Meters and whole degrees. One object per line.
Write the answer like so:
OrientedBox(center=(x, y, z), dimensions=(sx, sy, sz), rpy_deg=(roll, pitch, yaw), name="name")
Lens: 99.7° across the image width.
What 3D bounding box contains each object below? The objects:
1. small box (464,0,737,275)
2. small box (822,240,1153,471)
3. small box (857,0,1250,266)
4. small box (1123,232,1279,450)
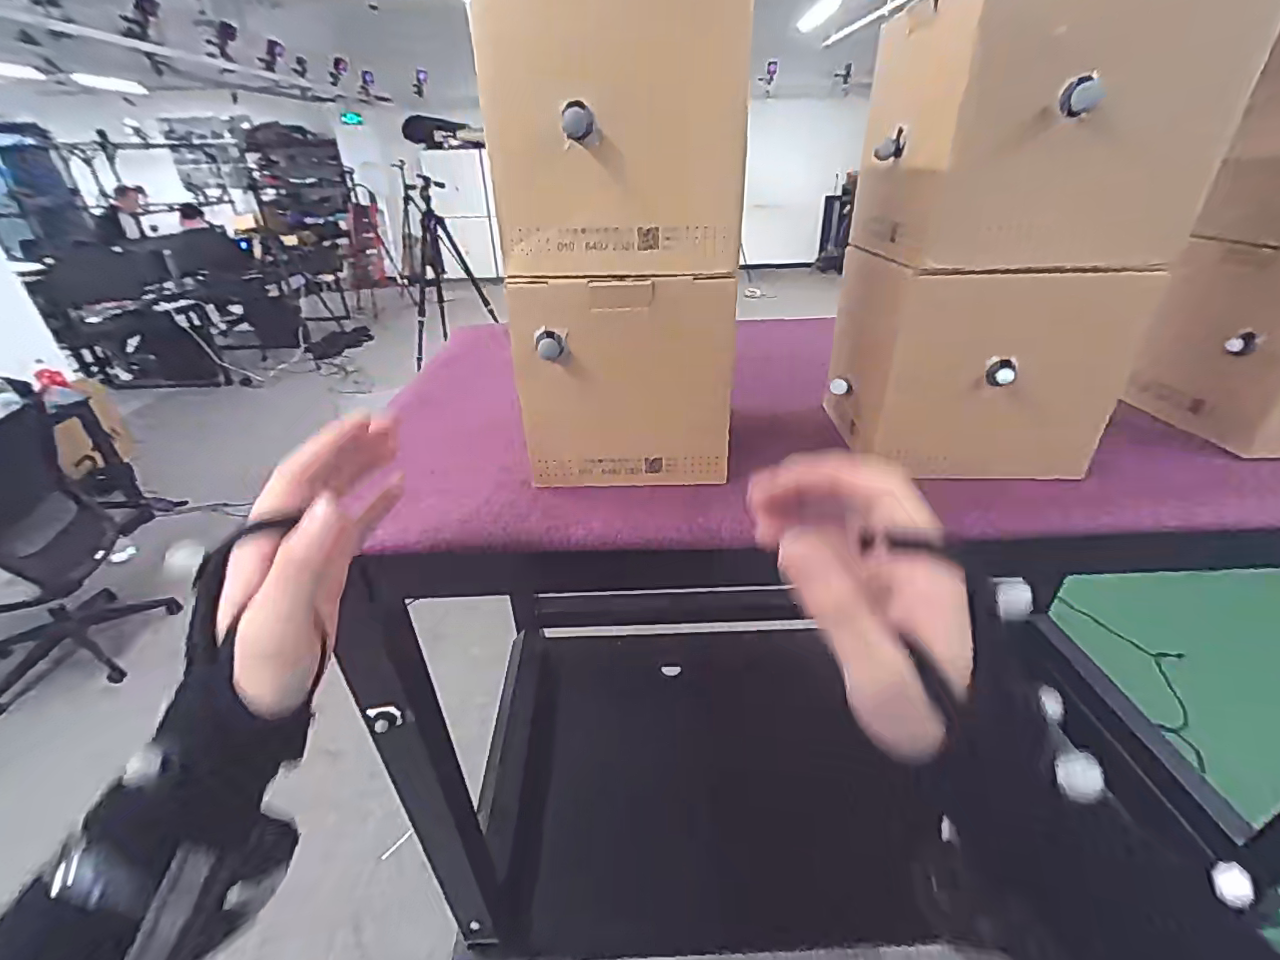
OrientedBox(center=(-0.014, -0.257, 0.420), dimensions=(0.168, 0.176, 0.179), rpy_deg=(0, 29, 4), name="small box")
OrientedBox(center=(0.278, -0.116, 0.486), dimensions=(0.179, 0.176, 0.168), rpy_deg=(-1, 30, 5), name="small box")
OrientedBox(center=(0.278, -0.261, 0.410), dimensions=(0.179, 0.176, 0.168), rpy_deg=(-2, 30, 2), name="small box")
OrientedBox(center=(0.603, -0.133, 0.498), dimensions=(0.179, 0.176, 0.168), rpy_deg=(0, 30, 3), name="small box")
